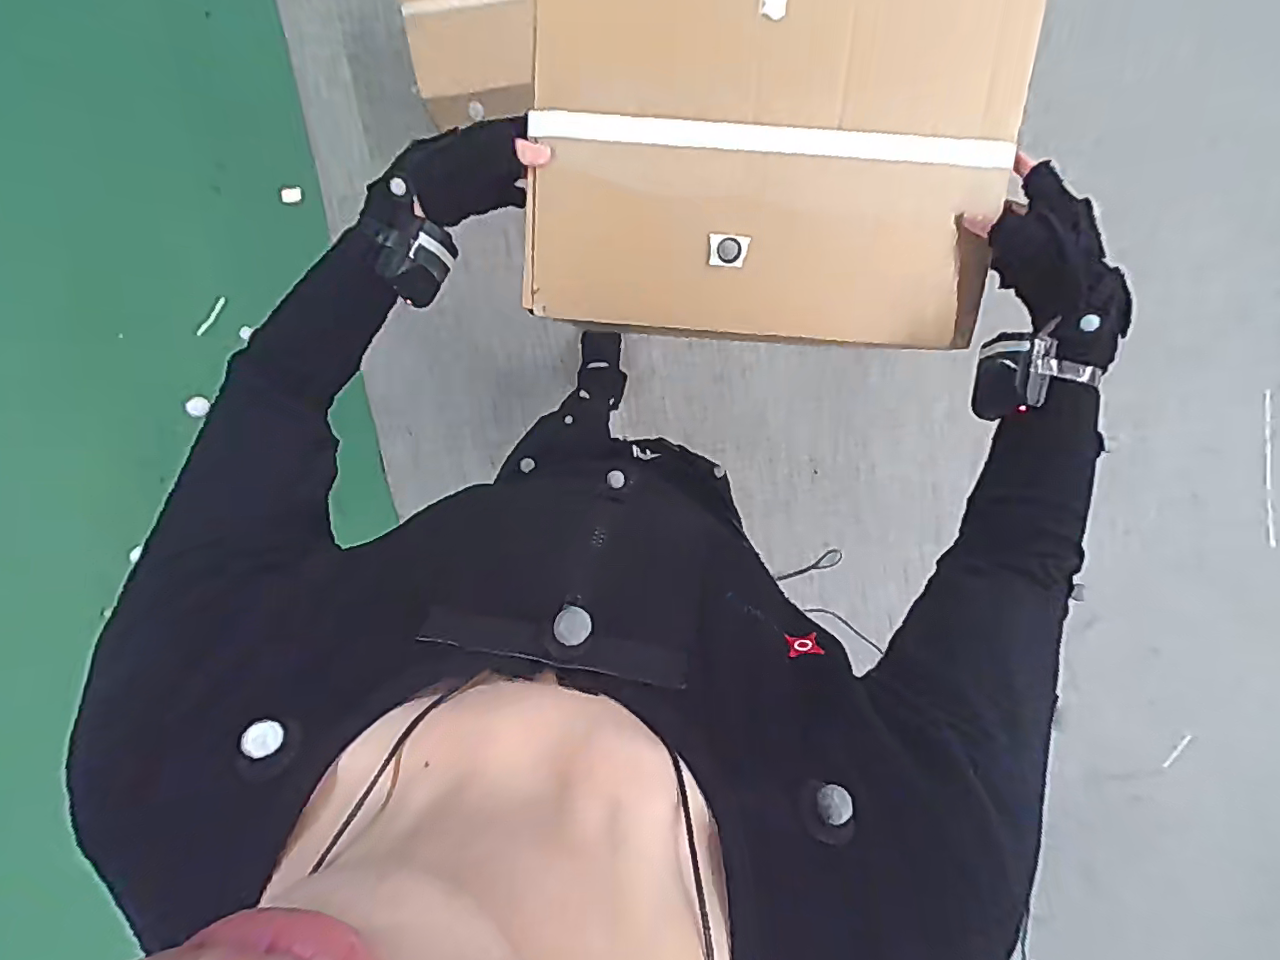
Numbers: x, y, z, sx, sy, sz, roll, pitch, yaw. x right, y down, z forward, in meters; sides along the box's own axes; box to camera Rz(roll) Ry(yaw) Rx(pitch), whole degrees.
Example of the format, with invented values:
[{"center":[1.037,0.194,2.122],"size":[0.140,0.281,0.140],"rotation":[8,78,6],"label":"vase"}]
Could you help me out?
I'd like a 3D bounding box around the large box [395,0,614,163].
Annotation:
[{"center":[-0.283,-0.959,1.206],"size":[0.408,0.320,0.320],"rotation":[-10,98,-2],"label":"large box"}]
